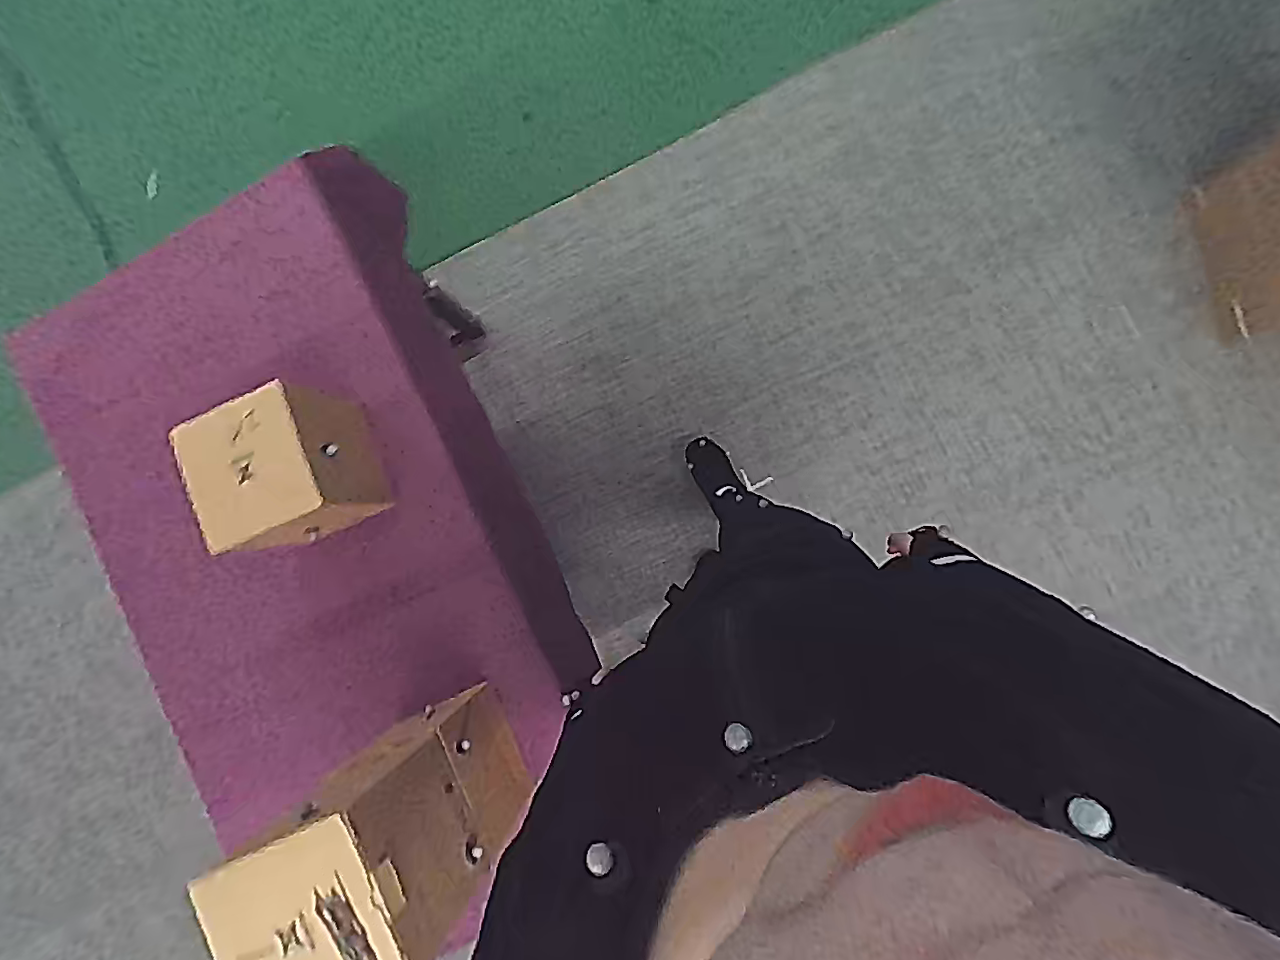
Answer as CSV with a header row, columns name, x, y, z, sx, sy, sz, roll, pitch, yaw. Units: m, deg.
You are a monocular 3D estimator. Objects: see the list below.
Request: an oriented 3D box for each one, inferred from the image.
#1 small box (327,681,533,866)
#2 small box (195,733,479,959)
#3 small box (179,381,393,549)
name,x,y,z,sx,sy,sz,roll,pitch,yaw
small box,-0.268,0.404,0.730,0.168,0.176,0.179,-27,84,6
small box,-0.294,0.401,0.568,0.179,0.176,0.168,-28,84,7
small box,-0.489,-0.017,0.772,0.168,0.176,0.179,-23,85,6
